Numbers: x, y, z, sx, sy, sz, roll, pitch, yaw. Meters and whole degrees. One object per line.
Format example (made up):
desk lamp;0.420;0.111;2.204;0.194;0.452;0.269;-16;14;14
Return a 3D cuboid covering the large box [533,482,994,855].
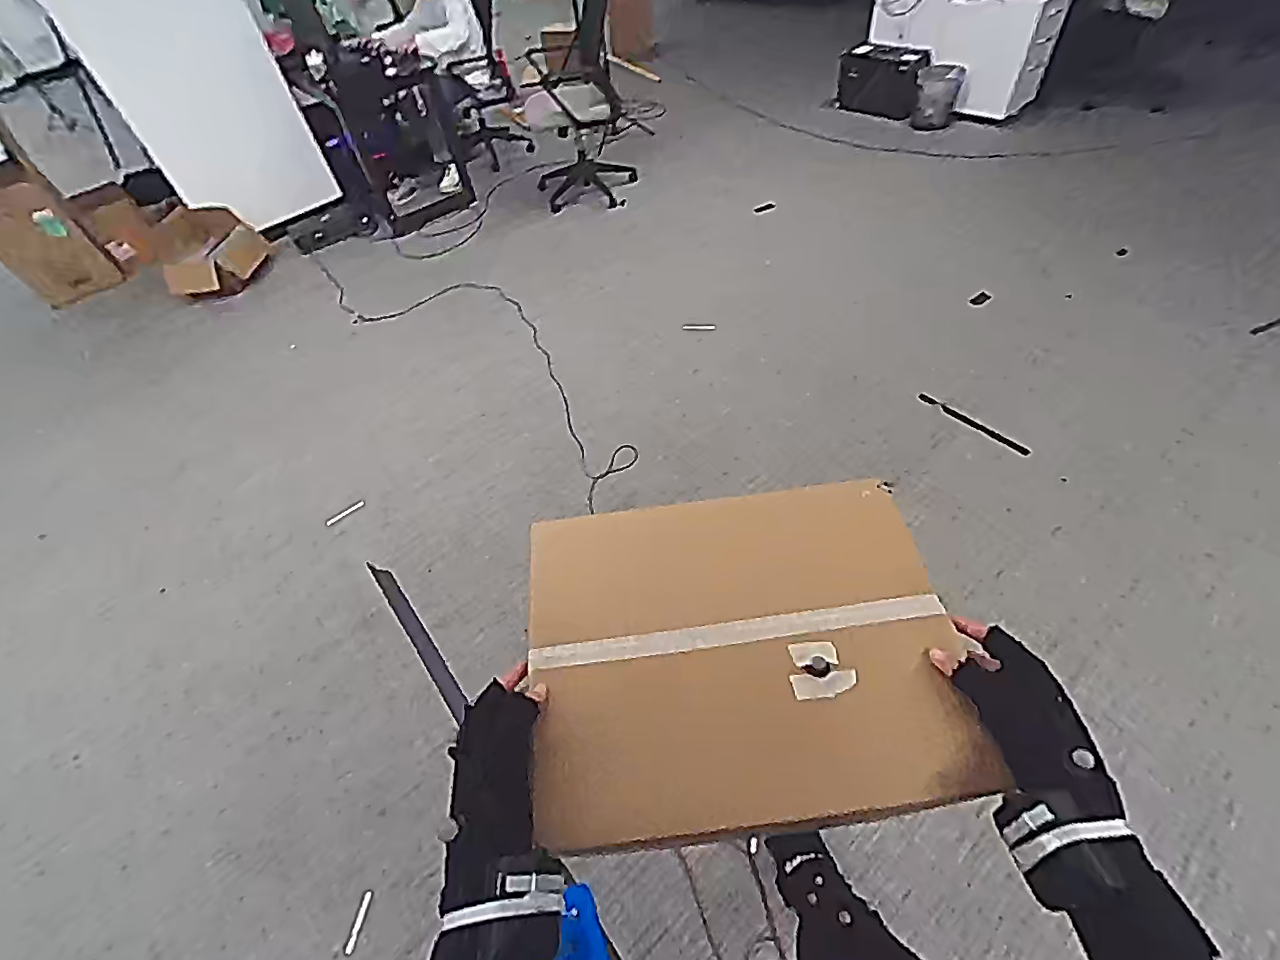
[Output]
large box;0.100;0.240;0.663;0.408;0.320;0.320;-8;54;-1

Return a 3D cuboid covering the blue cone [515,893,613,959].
blue cone;-0.176;0.891;0.993;0.193;0.380;0.192;-20;51;-6
